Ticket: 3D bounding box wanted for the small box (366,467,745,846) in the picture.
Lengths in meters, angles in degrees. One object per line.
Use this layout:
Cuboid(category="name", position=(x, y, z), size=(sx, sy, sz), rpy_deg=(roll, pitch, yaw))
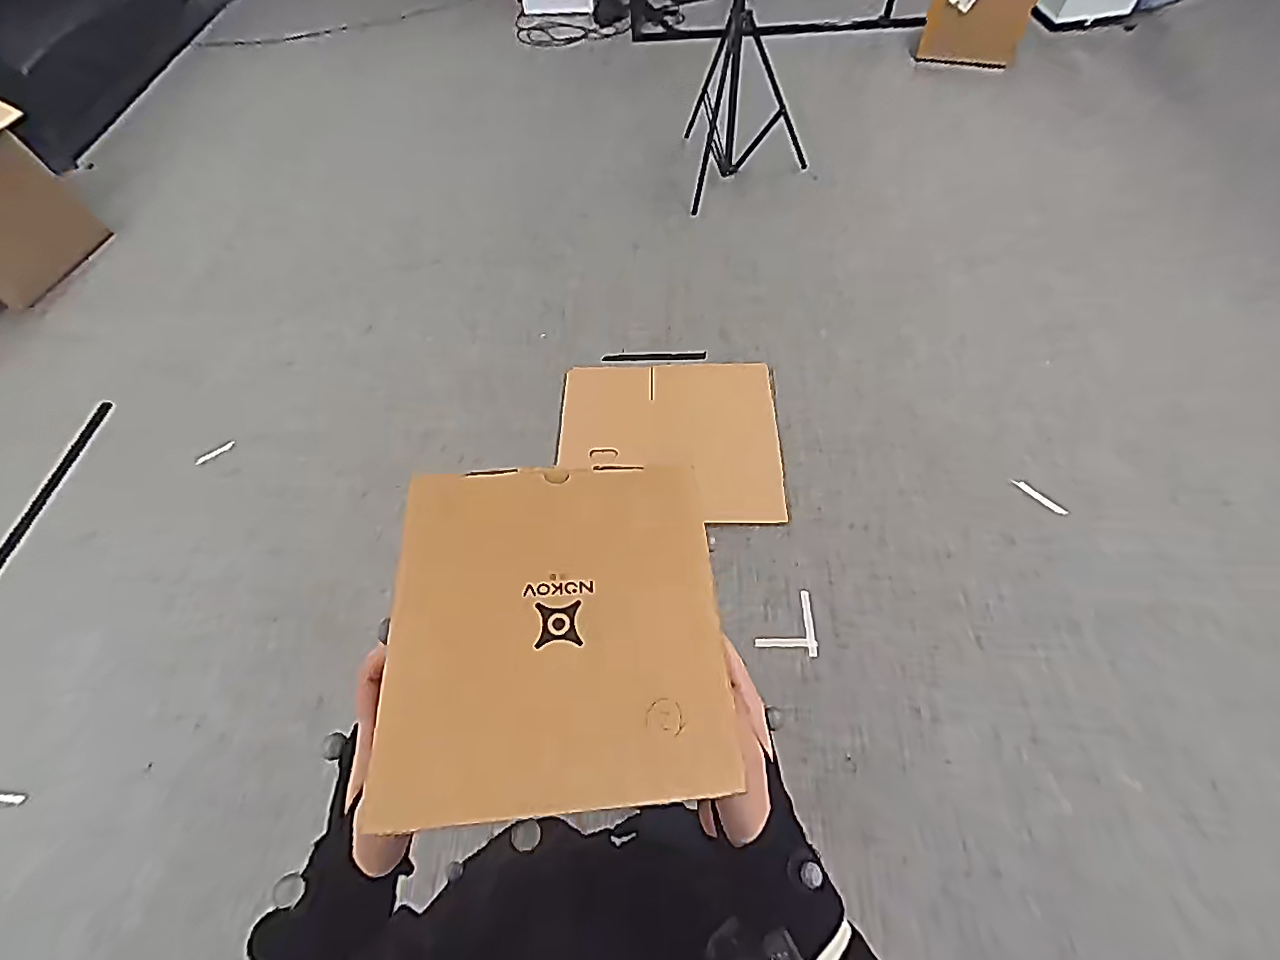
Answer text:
Cuboid(category="small box", position=(-0.046, 0.110, 0.339), size=(0.168, 0.176, 0.179), rpy_deg=(-2, 59, -7))
